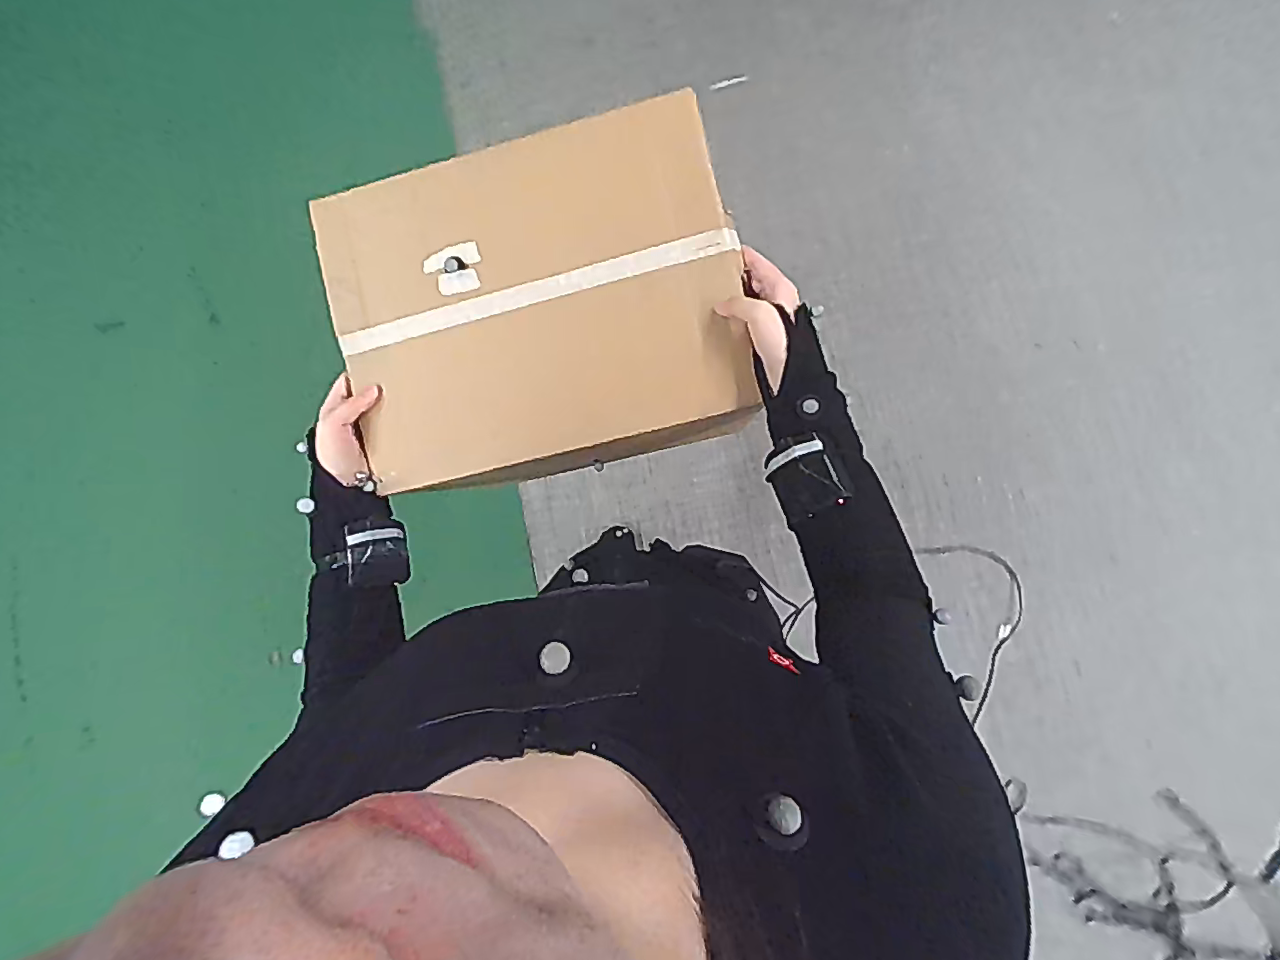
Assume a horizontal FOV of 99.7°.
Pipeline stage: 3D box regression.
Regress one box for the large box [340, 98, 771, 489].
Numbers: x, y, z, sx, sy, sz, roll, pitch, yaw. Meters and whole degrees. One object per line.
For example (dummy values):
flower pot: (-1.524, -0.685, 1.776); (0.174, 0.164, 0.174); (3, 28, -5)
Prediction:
large box: (-0.077, -0.186, 0.696); (0.408, 0.320, 0.320); (-12, 89, 7)
